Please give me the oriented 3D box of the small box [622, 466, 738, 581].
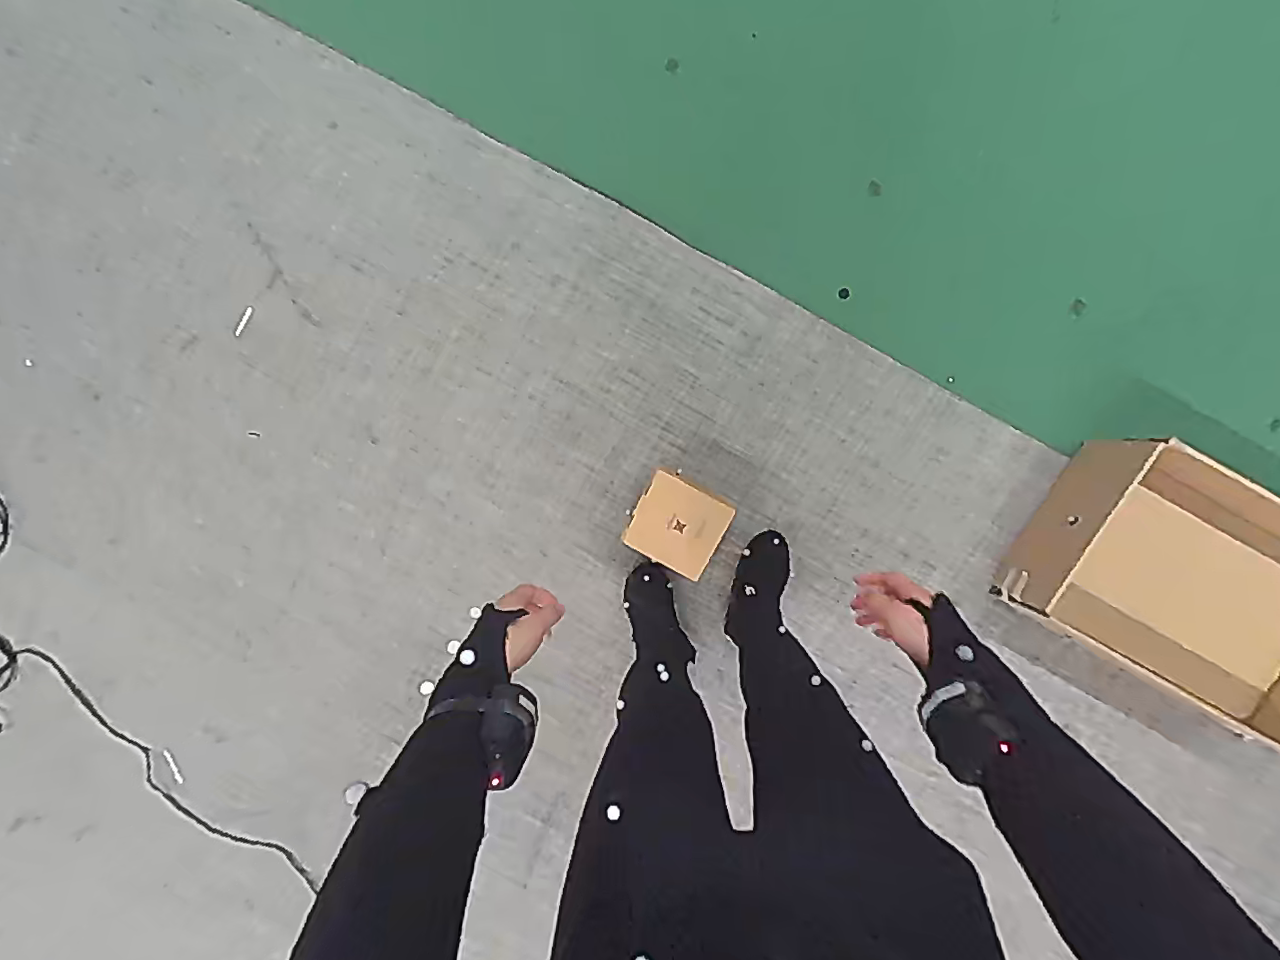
[{"bbox_3d":[0.079,0.081,1.130,0.179,0.176,0.168,27,98,-2],"label":"small box"}]
